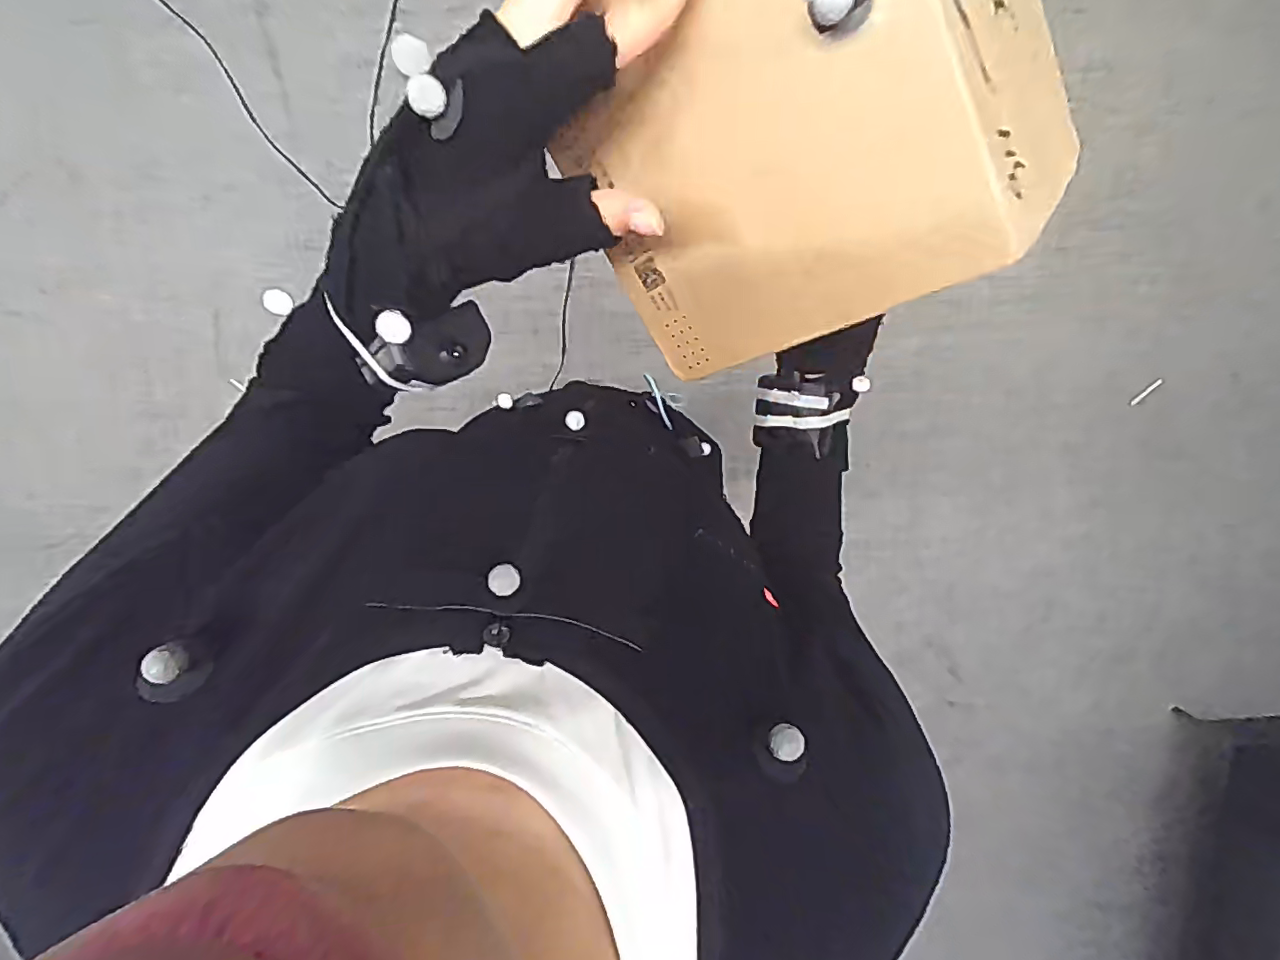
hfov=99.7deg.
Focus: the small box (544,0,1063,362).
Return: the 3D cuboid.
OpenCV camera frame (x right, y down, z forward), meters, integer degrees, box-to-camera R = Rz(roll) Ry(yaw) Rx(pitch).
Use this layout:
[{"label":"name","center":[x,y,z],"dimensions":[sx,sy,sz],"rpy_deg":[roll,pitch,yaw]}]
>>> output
[{"label":"small box","center":[0.085,-0.186,0.279],"dimensions":[0.179,0.176,0.168],"rpy_deg":[-43,110,-35]}]
